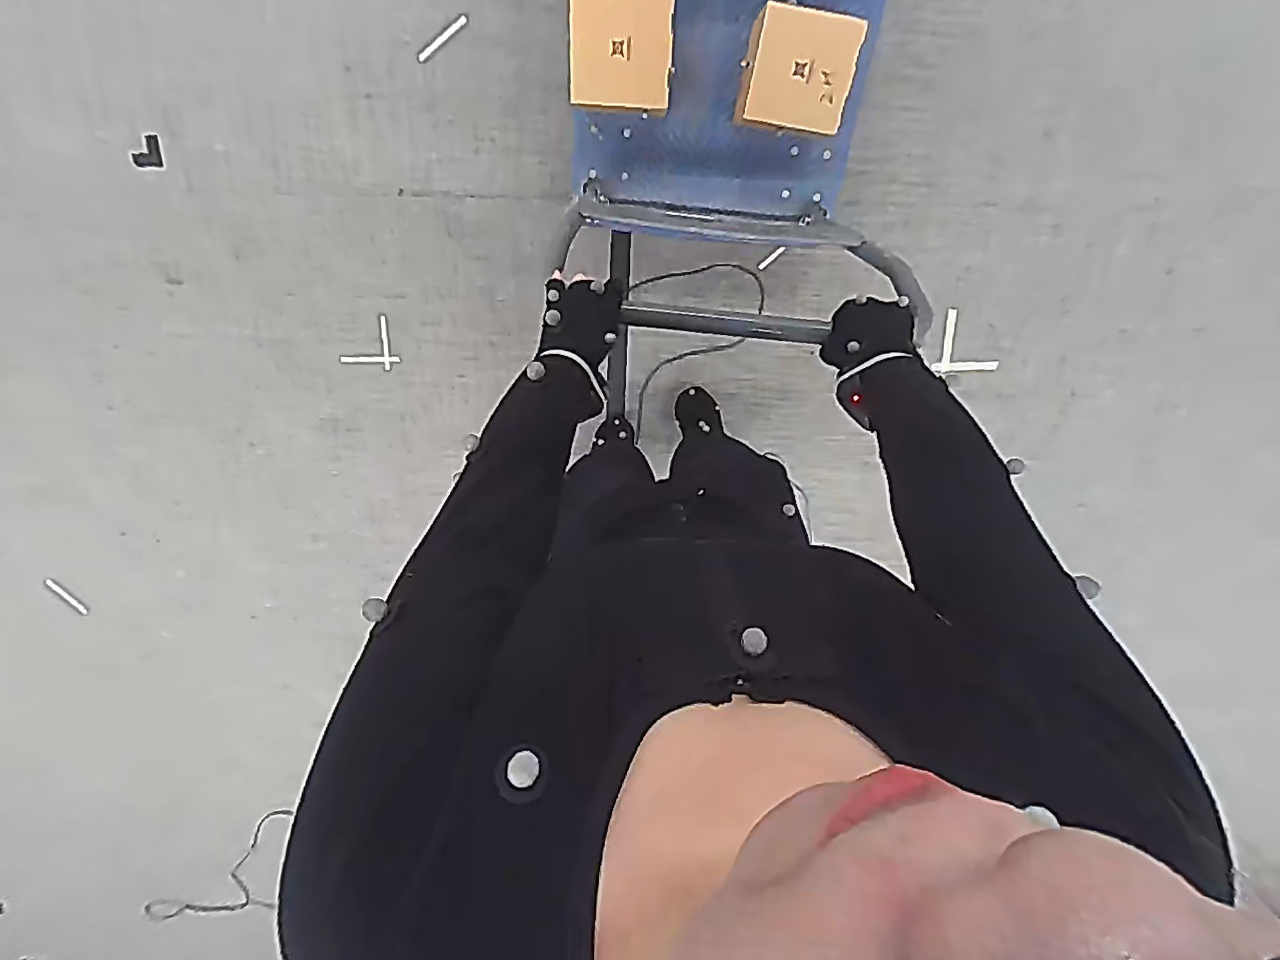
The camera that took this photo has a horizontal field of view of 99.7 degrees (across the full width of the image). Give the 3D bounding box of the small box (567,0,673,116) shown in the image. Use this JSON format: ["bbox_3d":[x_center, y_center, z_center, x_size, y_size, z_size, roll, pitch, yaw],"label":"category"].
[{"bbox_3d":[-0.035,-0.773,0.988,0.179,0.176,0.168,2,120,-2],"label":"small box"}]

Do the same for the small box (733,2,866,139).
[{"bbox_3d":[0.280,-0.742,1.000,0.179,0.176,0.168,9,120,-4],"label":"small box"}]
